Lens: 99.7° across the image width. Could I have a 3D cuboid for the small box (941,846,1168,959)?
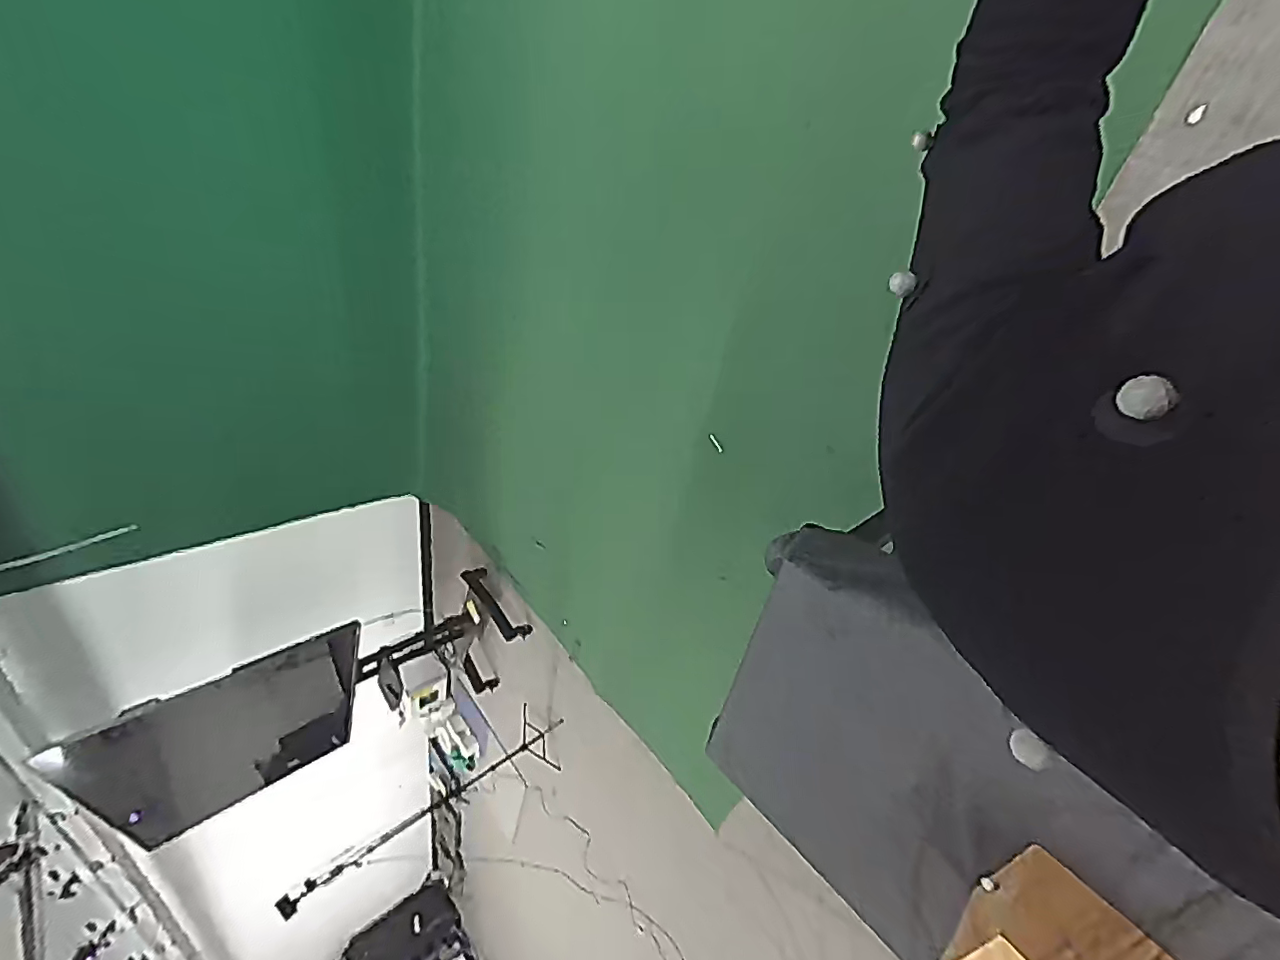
[{"bbox_3d":[0.537,0.638,0.705,0.179,0.176,0.168,38,130,33],"label":"small box"}]
